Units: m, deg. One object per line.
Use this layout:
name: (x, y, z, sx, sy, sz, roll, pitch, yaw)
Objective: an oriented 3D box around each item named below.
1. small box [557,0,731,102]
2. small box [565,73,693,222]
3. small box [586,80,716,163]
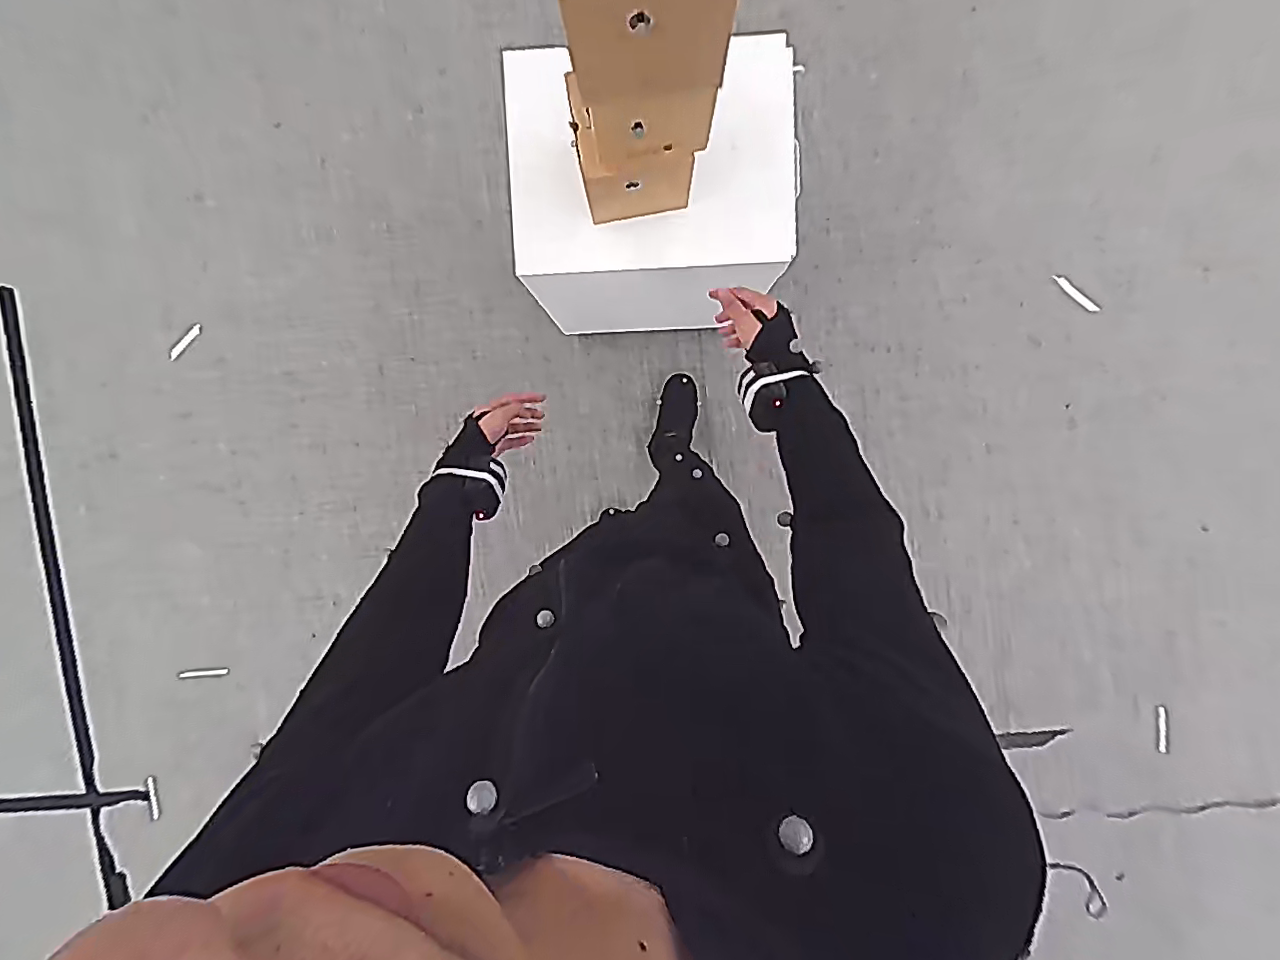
small box: (0.001, -0.538, 0.573, 0.179, 0.176, 0.168, -6, 94, 1)
small box: (-0.015, -0.553, 0.900, 0.179, 0.176, 0.168, -10, 94, 1)
small box: (0.006, -0.562, 0.737, 0.168, 0.176, 0.179, -9, 93, 2)
